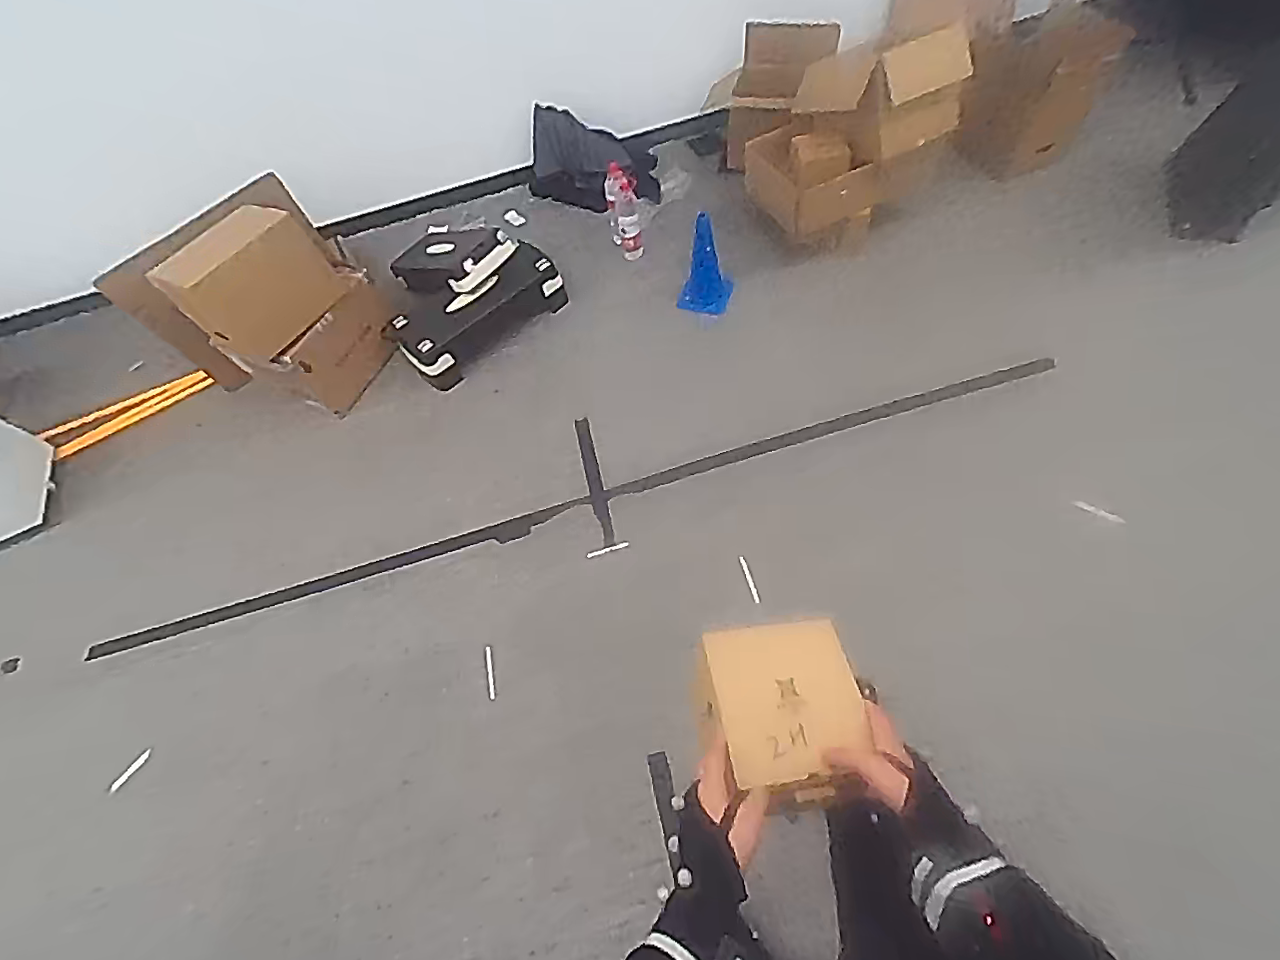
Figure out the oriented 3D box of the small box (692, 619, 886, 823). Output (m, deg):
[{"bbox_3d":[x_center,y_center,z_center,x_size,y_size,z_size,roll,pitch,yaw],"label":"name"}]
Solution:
[{"bbox_3d":[0.164,0.298,0.670,0.168,0.176,0.179,-6,49,-6],"label":"small box"}]
